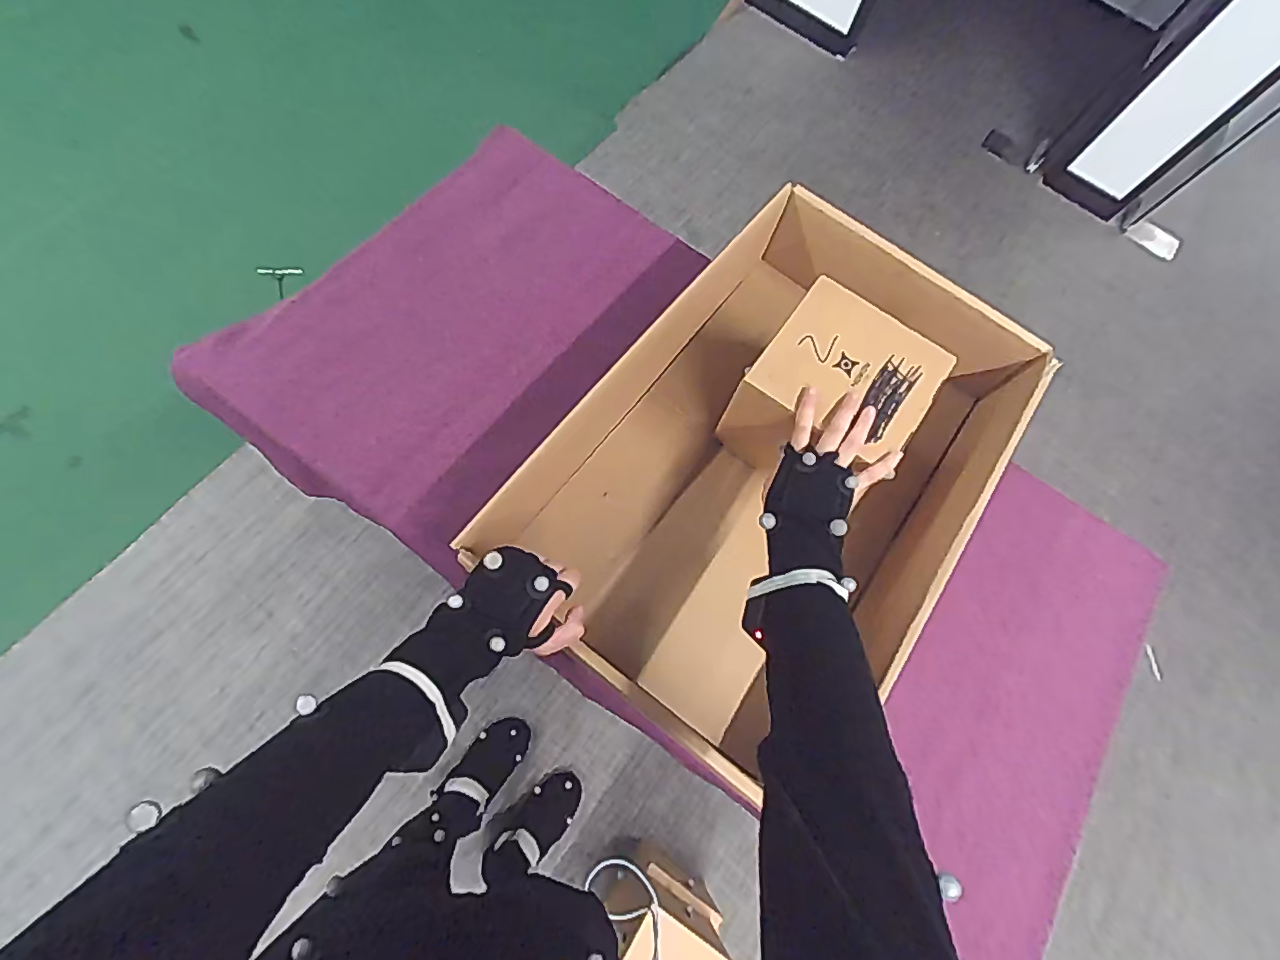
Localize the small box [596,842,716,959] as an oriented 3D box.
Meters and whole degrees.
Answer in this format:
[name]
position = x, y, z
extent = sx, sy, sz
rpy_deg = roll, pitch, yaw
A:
[small box]
position = 0.026, 0.892, 1.116
extent = 0.179, 0.176, 0.168
rpy_deg = 35, 71, 6
